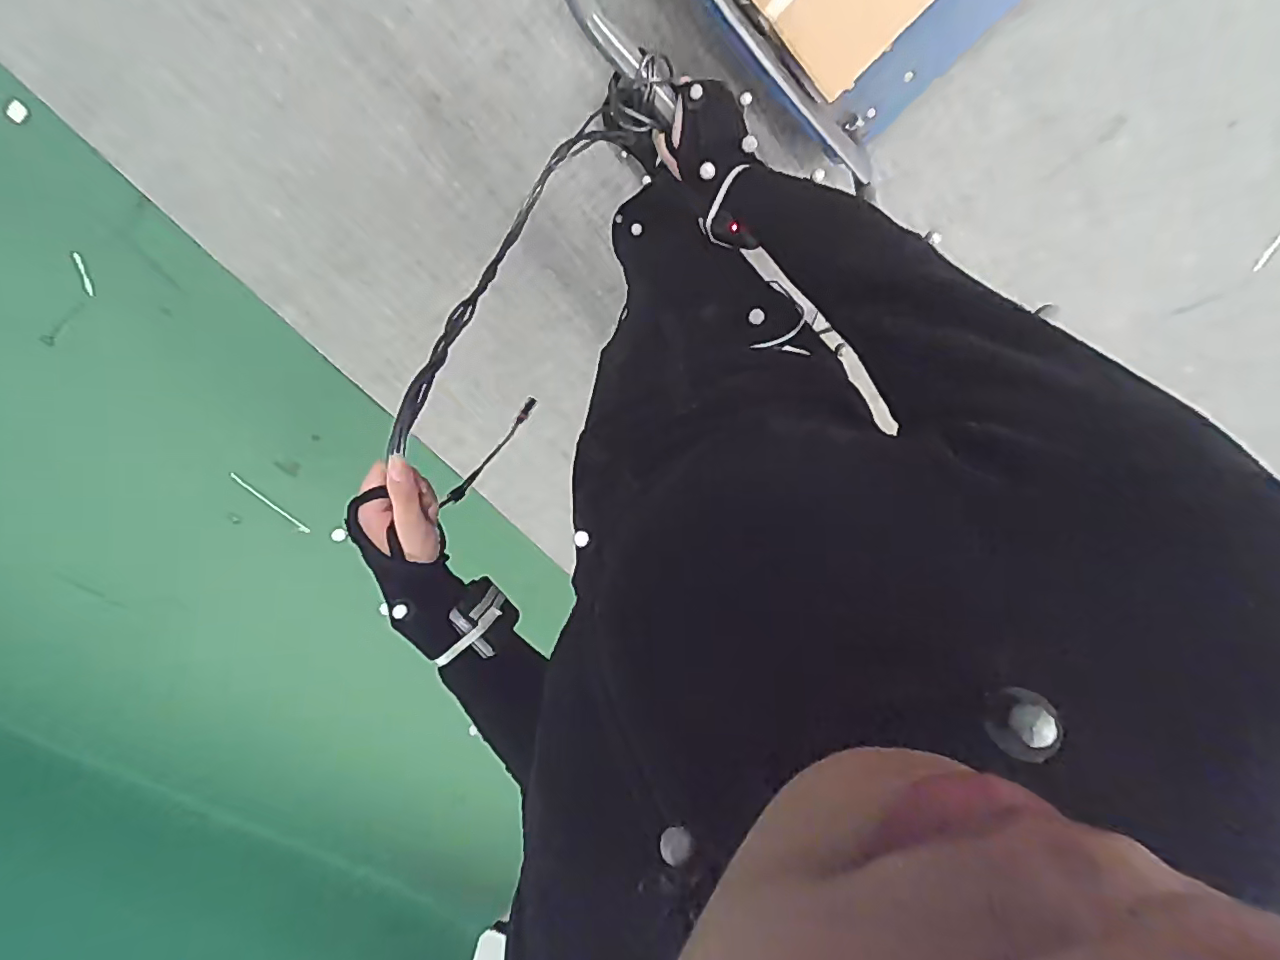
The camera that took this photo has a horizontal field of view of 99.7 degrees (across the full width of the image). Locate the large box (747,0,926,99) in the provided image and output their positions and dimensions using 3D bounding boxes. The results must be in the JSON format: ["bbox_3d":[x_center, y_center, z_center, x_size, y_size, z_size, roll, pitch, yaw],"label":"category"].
[{"bbox_3d":[0.332,-0.871,0.785,0.320,0.320,0.408,39,129,-23],"label":"large box"}]
